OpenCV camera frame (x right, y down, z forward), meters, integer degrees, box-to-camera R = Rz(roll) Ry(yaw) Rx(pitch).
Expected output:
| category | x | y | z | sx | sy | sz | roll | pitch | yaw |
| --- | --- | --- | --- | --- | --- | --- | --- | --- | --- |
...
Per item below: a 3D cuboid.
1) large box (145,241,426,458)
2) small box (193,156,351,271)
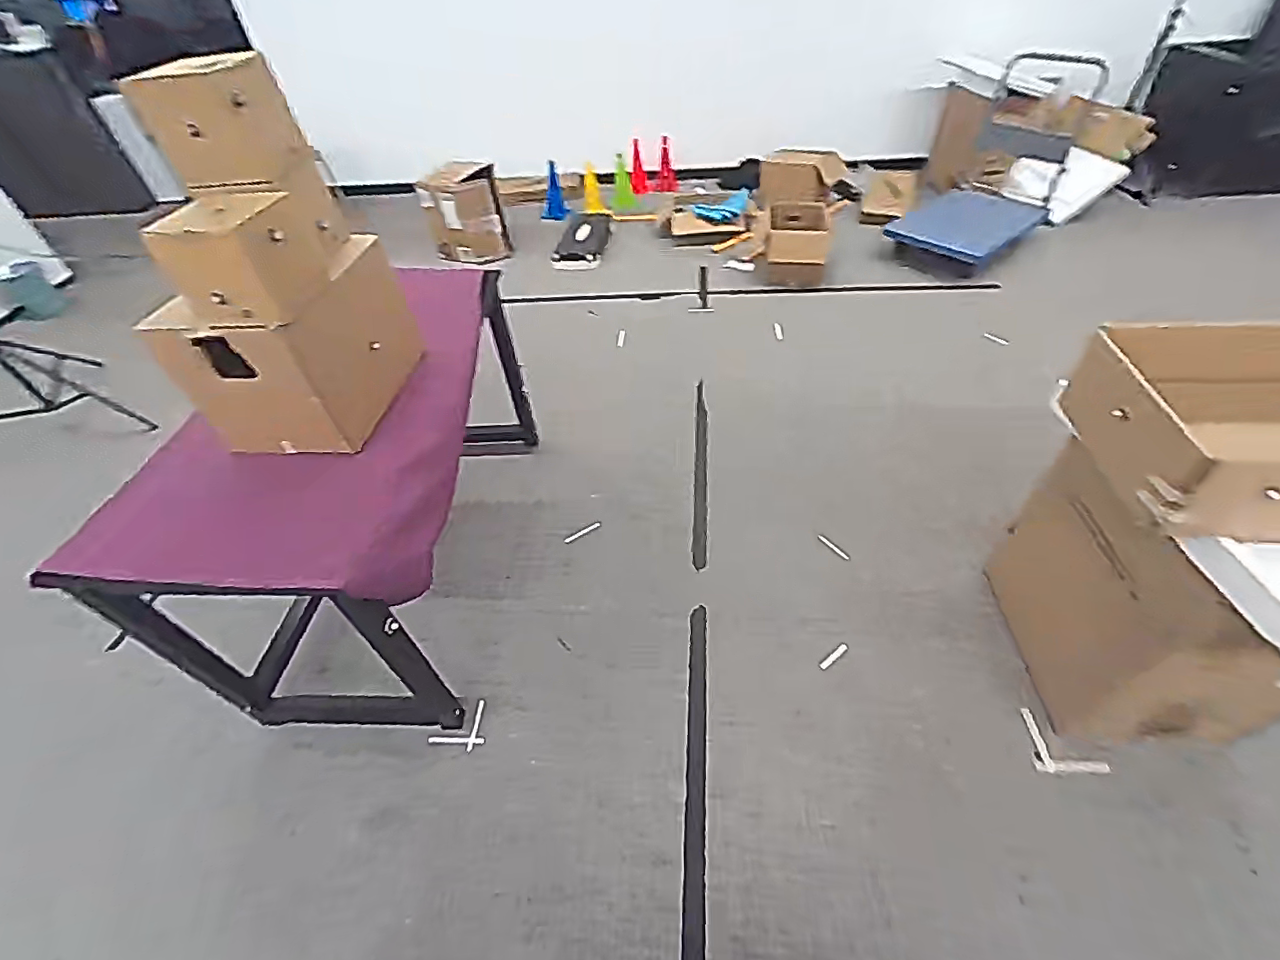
| category | x | y | z | sx | sy | sz | roll | pitch | yaw |
| --- | --- | --- | --- | --- | --- | --- | --- | --- | --- |
| large box | -0.742 | -0.298 | 1.223 | 0.320 | 0.320 | 0.408 | -1 | 47 | 8 |
| small box | -0.750 | -0.550 | 1.124 | 0.179 | 0.176 | 0.168 | 0 | 48 | 7 |
